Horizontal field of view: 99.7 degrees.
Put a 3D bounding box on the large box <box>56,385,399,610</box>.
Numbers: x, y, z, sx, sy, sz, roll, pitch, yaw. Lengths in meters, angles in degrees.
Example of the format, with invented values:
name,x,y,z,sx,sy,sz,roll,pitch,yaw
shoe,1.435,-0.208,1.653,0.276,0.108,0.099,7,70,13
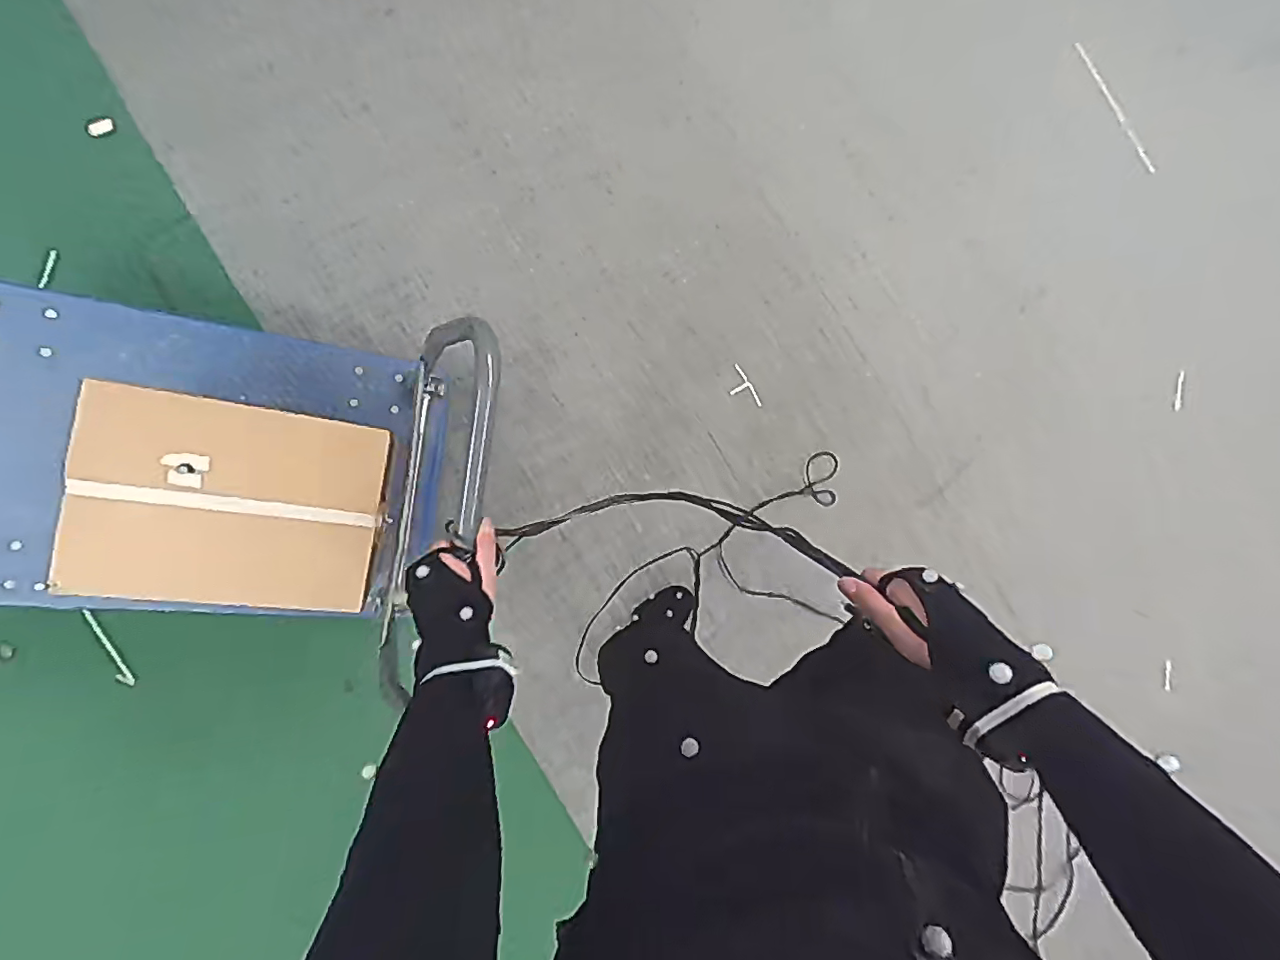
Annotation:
name,x,y,z,sx,sy,sz,roll,pitch,yaw
large box,-0.678,0.033,0.978,0.408,0.320,0.320,9,89,-21
